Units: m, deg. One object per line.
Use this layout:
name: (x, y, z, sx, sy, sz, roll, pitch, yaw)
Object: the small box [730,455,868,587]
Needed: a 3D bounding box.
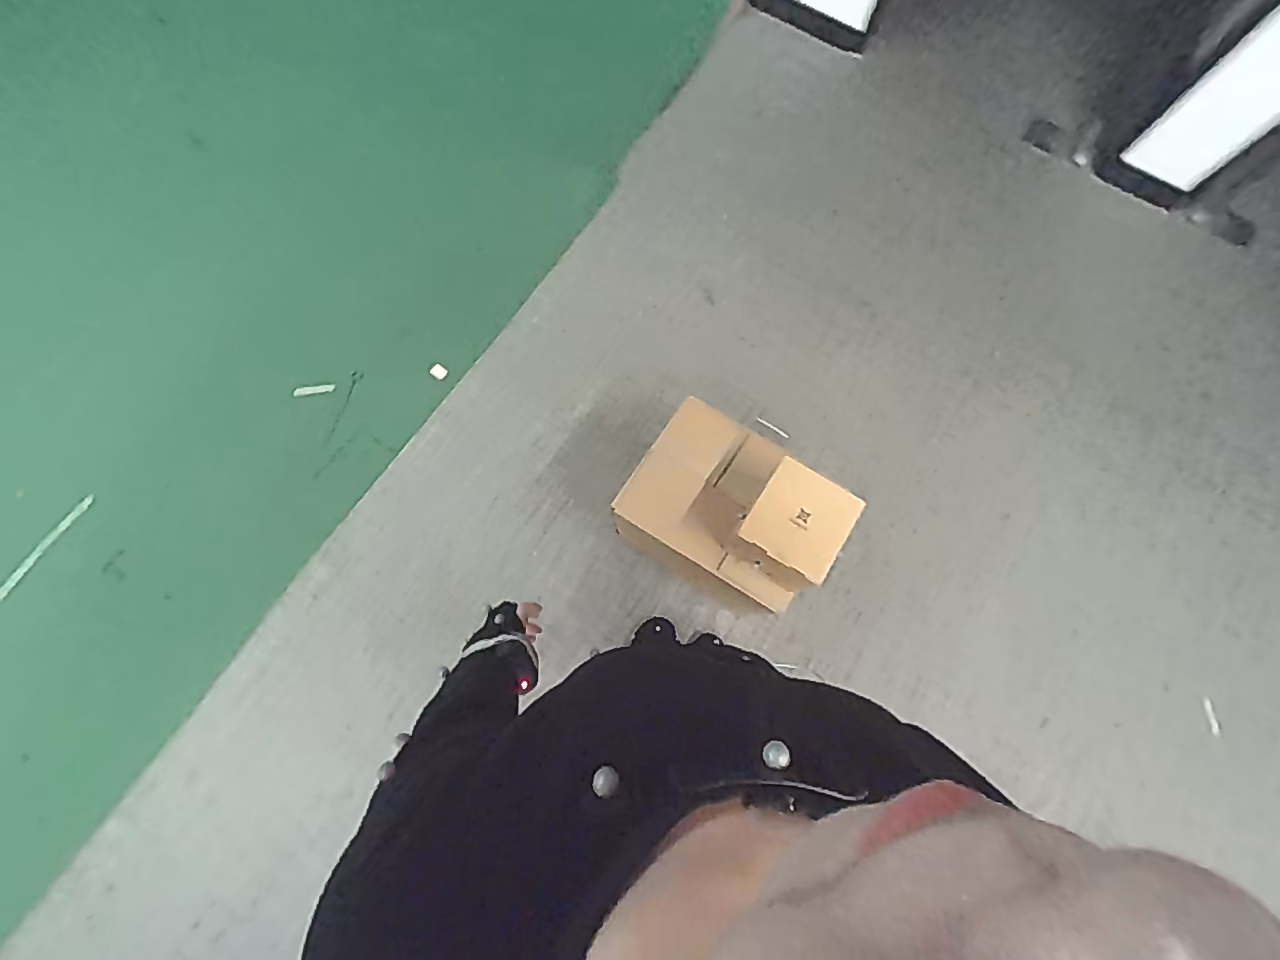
small box: (0.287, 0.085, 1.018, 0.168, 0.176, 0.179, 33, 78, 8)
